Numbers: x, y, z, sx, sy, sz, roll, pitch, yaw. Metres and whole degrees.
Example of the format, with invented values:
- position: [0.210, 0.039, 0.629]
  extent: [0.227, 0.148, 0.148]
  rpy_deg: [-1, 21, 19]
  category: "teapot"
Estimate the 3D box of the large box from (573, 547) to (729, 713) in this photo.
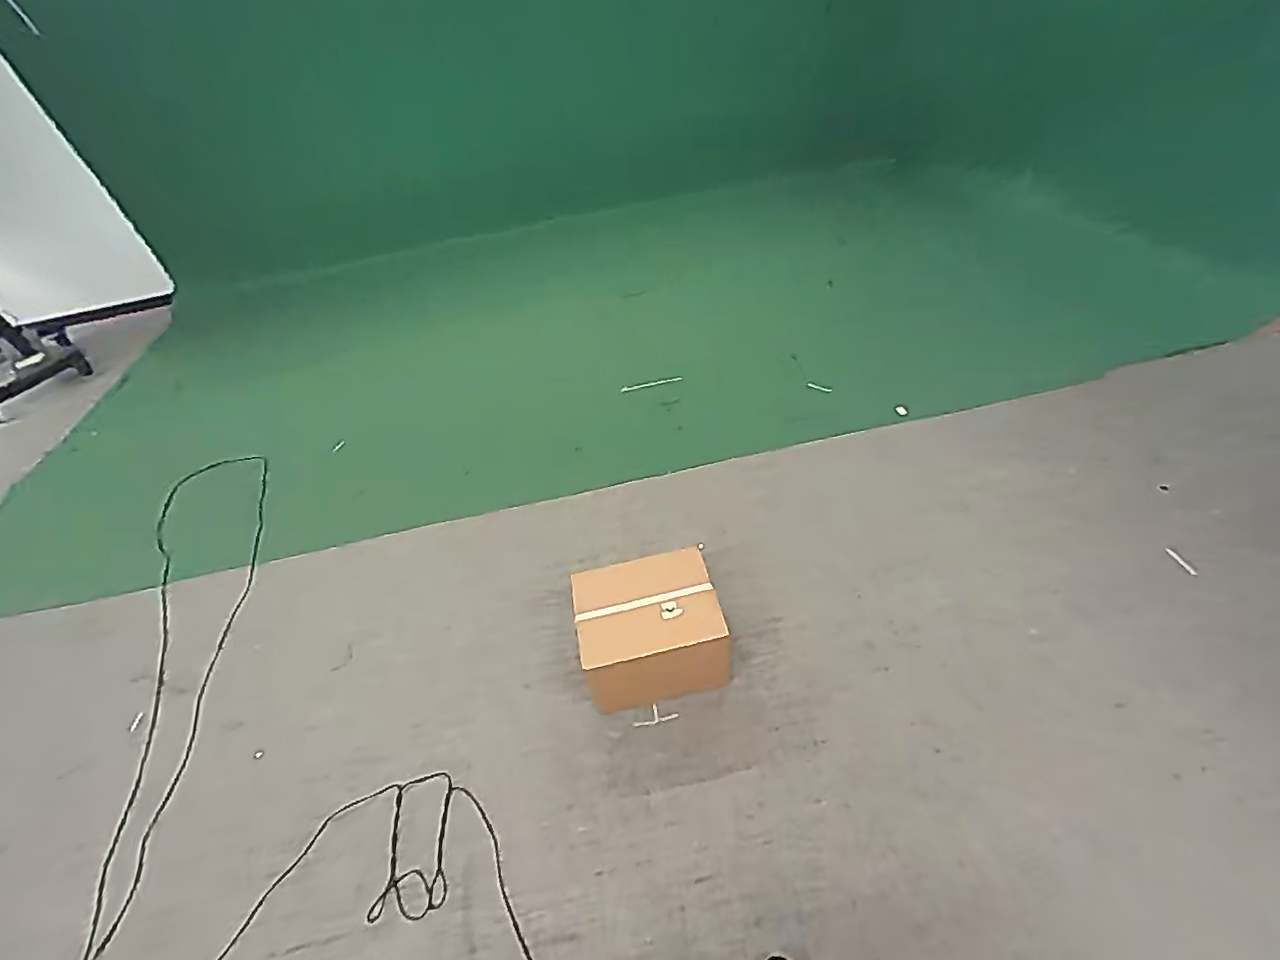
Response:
- position: [0.034, 0.460, 1.657]
  extent: [0.408, 0.320, 0.320]
  rpy_deg: [-13, 45, -3]
  category: "large box"
